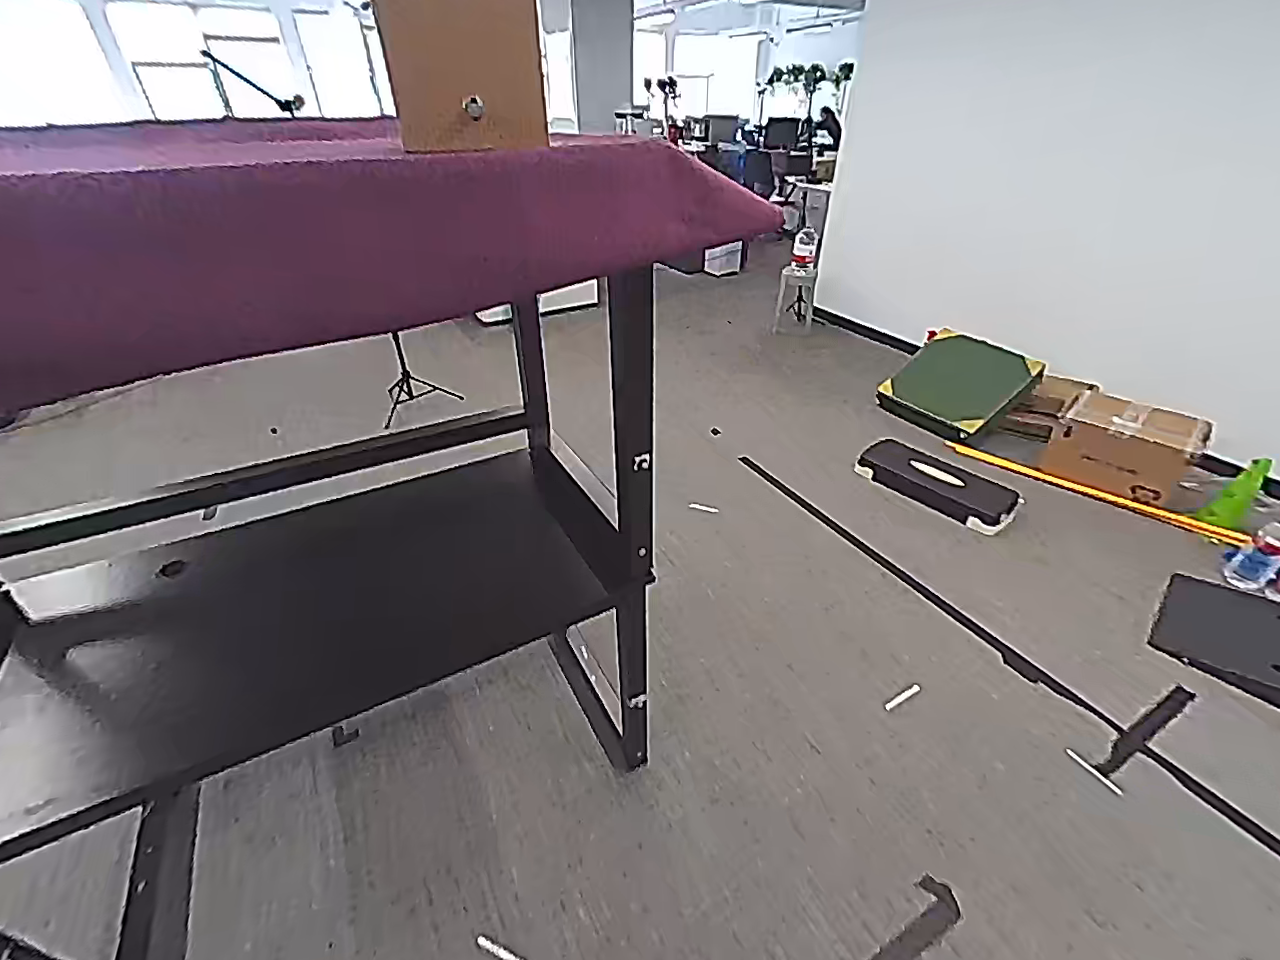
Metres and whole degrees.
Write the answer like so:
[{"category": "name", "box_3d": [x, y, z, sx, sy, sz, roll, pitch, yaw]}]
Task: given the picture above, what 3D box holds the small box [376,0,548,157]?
[{"category": "small box", "box_3d": [-0.214, -0.506, 0.668, 0.179, 0.176, 0.168, -11, 36, -16]}]
